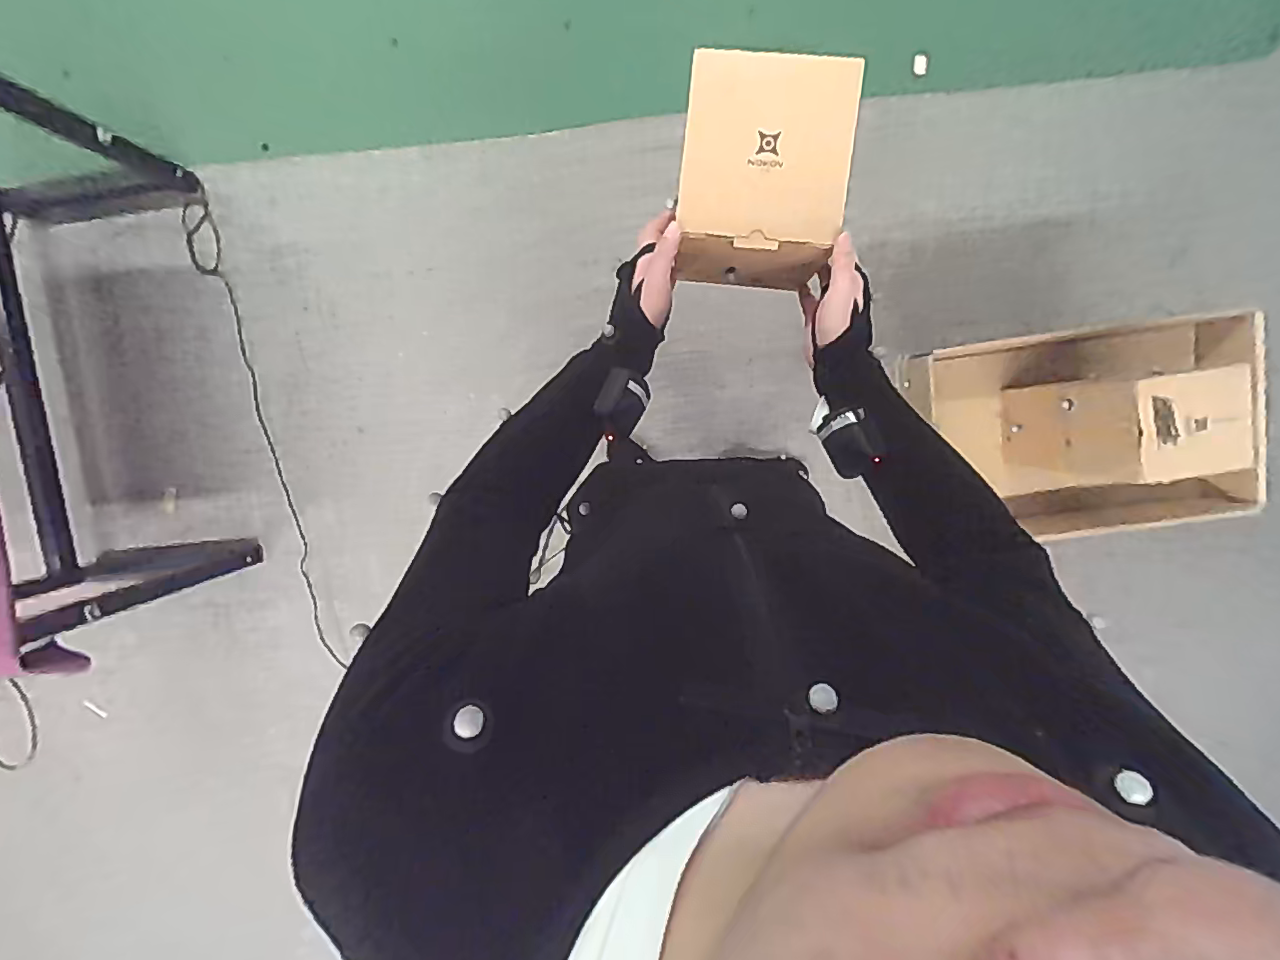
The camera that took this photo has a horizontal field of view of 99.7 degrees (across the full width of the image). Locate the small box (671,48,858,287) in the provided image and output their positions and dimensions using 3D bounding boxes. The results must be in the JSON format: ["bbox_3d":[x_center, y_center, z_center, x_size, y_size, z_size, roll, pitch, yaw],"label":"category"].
[{"bbox_3d":[0.123,-0.330,0.604,0.168,0.176,0.179,5,97,3],"label":"small box"}]

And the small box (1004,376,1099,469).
[{"bbox_3d":[0.871,-0.119,1.081,0.179,0.176,0.168,-7,95,2],"label":"small box"}]

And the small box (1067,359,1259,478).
[{"bbox_3d":[0.868,-0.102,0.918,0.179,0.176,0.168,-9,96,1],"label":"small box"}]
